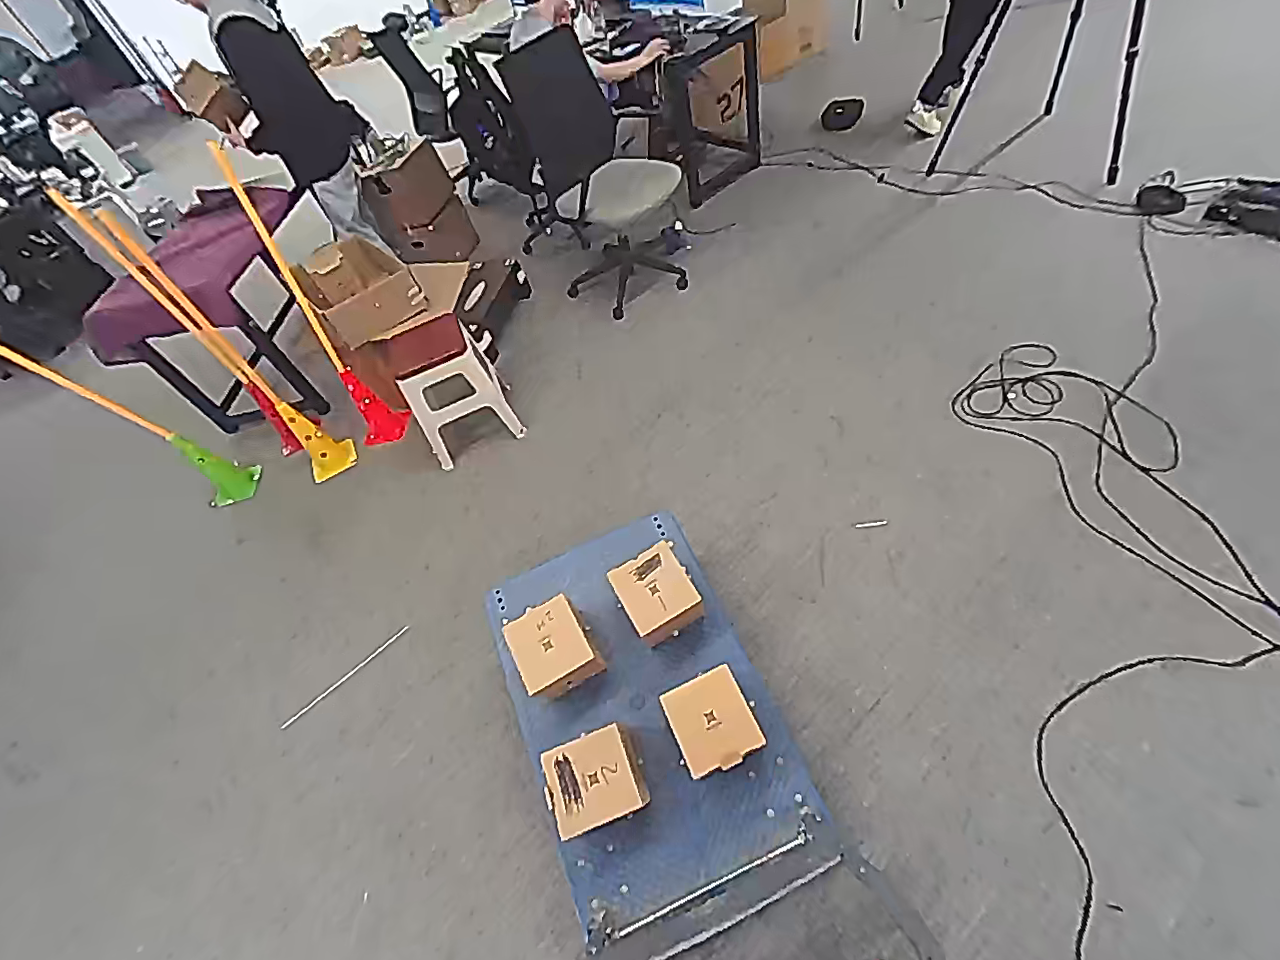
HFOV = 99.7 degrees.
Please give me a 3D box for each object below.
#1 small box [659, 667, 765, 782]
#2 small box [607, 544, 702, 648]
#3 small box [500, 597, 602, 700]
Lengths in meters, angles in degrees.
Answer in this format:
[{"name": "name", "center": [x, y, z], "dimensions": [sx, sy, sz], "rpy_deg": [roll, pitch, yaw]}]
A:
[{"name": "small box", "center": [0.154, 0.540, 1.192], "dimensions": [0.168, 0.176, 0.179], "rpy_deg": [-25, 64, -5]}, {"name": "small box", "center": [0.037, 0.290, 1.329], "dimensions": [0.168, 0.176, 0.179], "rpy_deg": [-29, 65, -7]}, {"name": "small box", "center": [-0.207, 0.411, 1.299], "dimensions": [0.168, 0.176, 0.179], "rpy_deg": [-28, 64, -8]}]
